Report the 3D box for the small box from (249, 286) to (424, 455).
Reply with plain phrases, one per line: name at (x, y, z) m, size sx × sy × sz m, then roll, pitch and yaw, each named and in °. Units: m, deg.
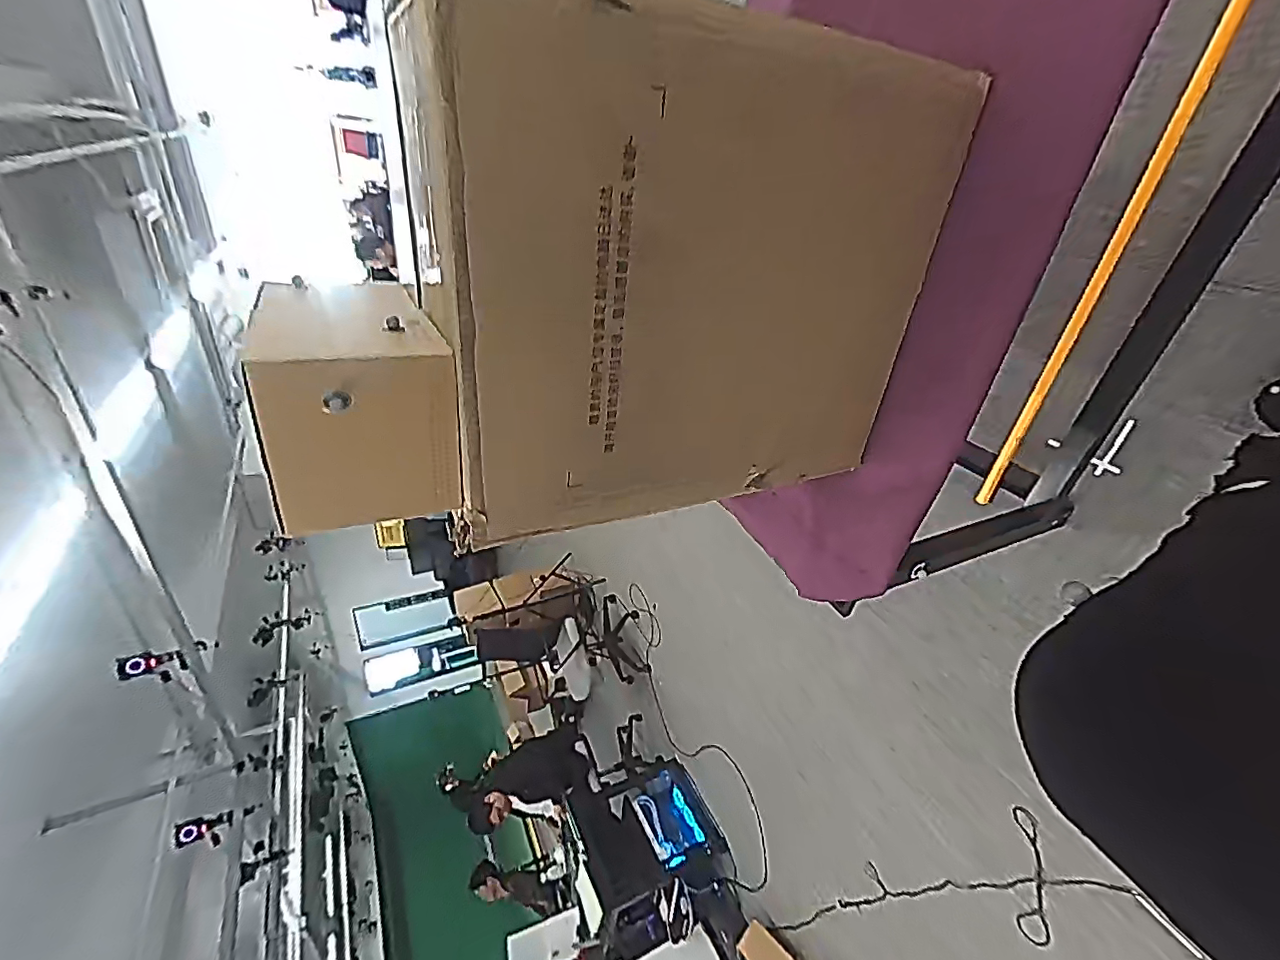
small box at (-0.385, -0.149, 0.708) m, size 0.179 × 0.176 × 0.168 m, roll 48°, pitch 139°, yaw 48°
